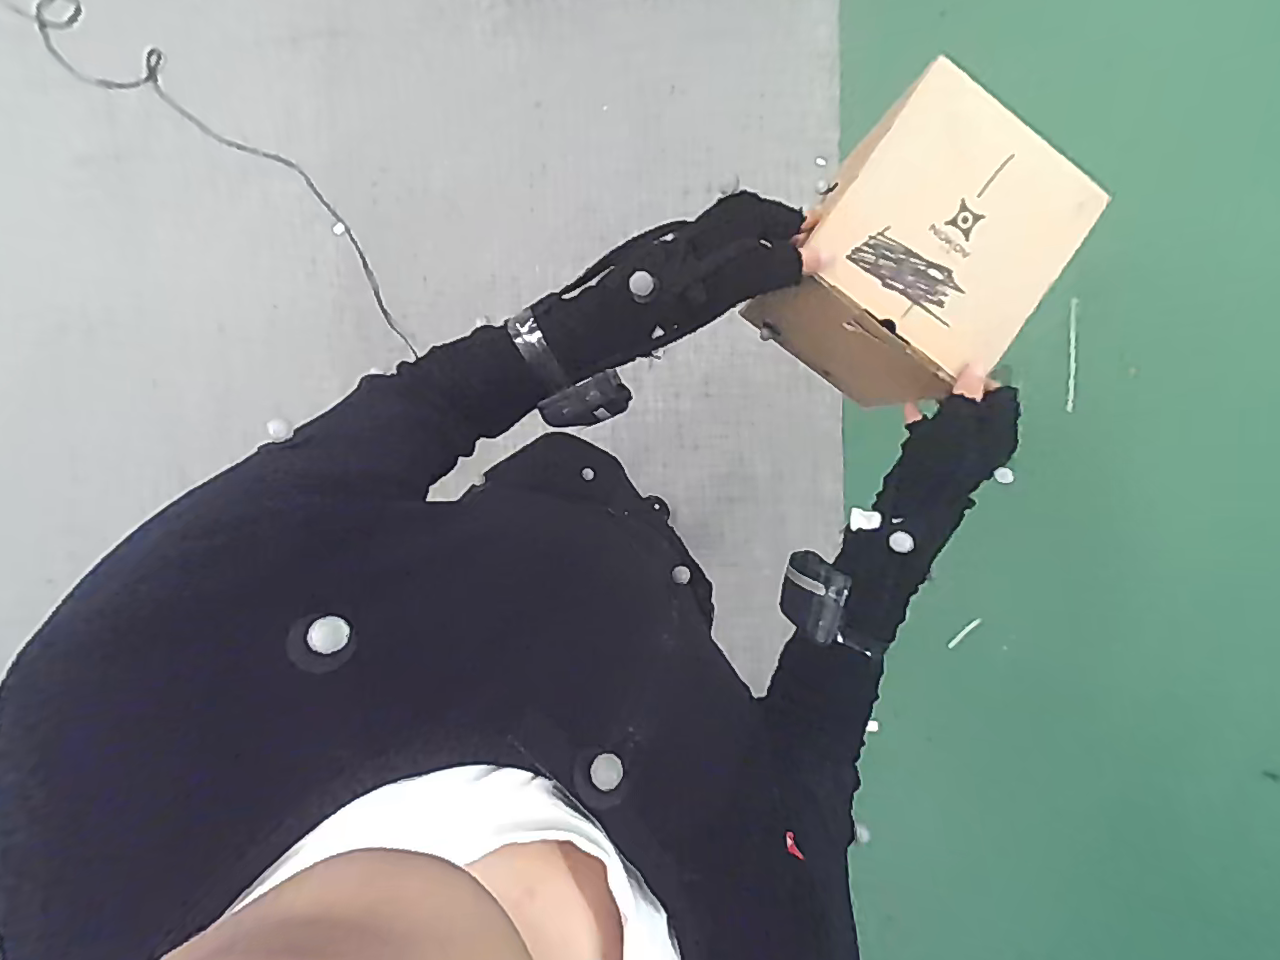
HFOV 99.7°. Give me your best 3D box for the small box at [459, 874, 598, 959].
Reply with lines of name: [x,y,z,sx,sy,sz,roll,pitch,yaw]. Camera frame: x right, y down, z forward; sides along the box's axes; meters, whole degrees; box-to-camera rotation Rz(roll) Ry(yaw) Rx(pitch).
small box: [-0.152,0.710,0.774,0.179,0.176,0.168,-4,90,-4]

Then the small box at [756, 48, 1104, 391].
small box: [0.221,-0.194,0.468,0.168,0.176,0.179,34,90,-6]
